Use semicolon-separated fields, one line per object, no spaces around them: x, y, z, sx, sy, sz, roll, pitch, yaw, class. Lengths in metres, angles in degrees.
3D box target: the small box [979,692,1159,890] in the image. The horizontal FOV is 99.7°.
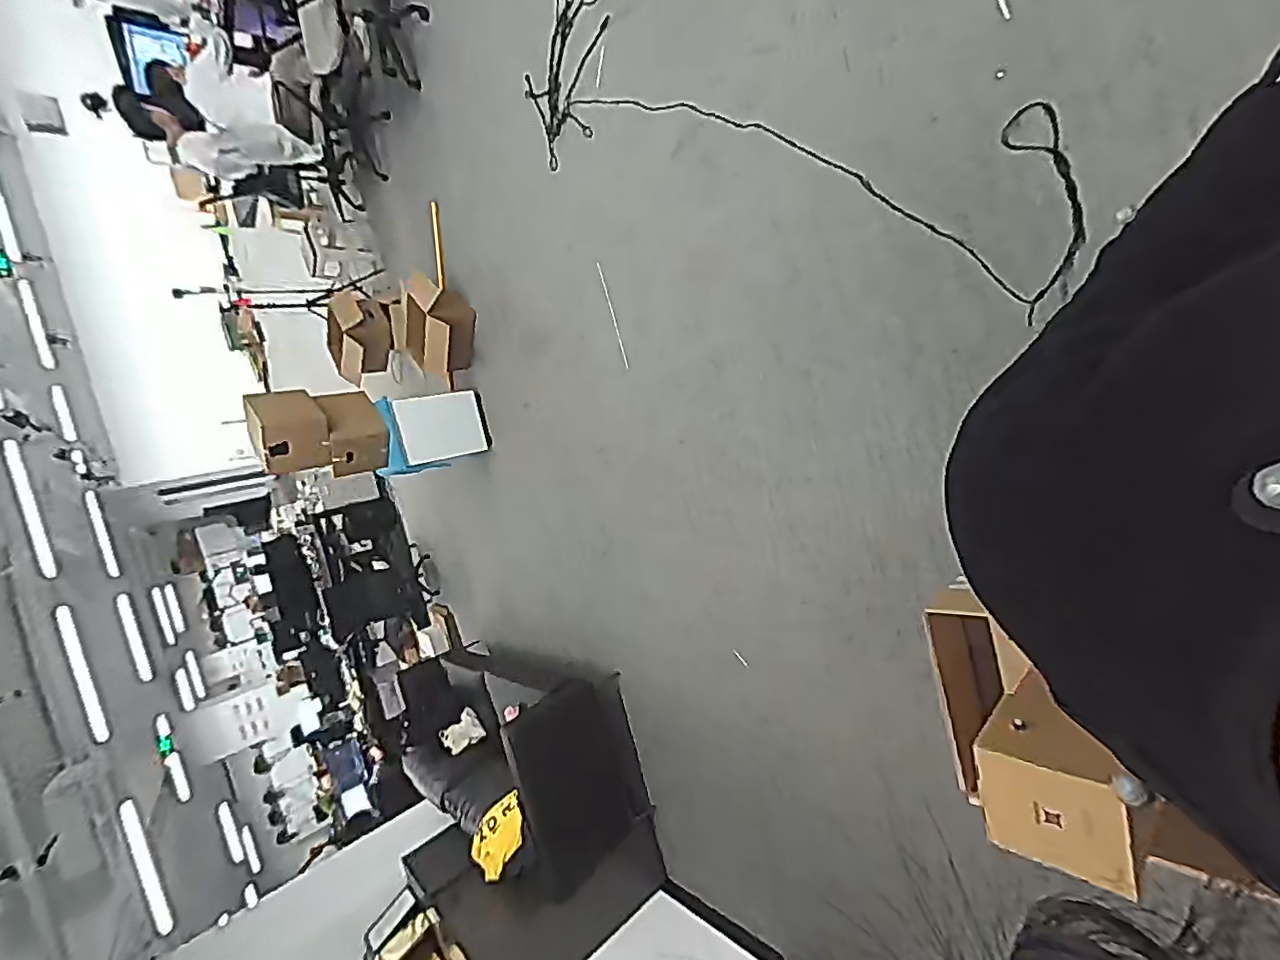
0.646;0.447;0.816;0.179;0.176;0.168;-4;101;50;small box
